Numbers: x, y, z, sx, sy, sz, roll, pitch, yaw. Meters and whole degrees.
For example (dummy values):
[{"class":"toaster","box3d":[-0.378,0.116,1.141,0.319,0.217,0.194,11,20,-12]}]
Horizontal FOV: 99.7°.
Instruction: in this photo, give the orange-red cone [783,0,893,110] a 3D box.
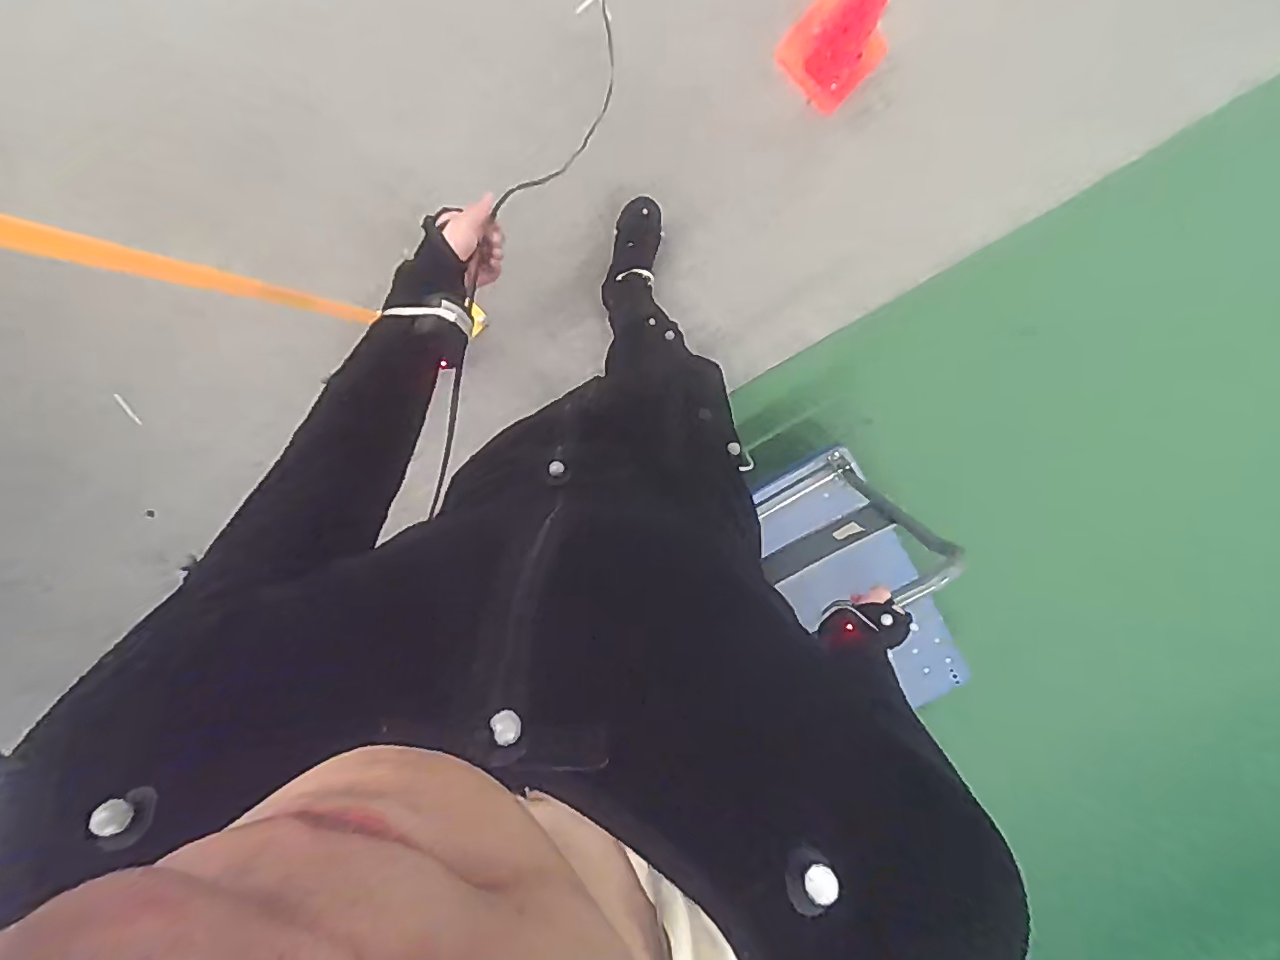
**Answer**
[{"class":"orange-red cone","box3d":[0.465,-0.974,1.120,0.198,0.360,0.199,43,103,-12]}]
